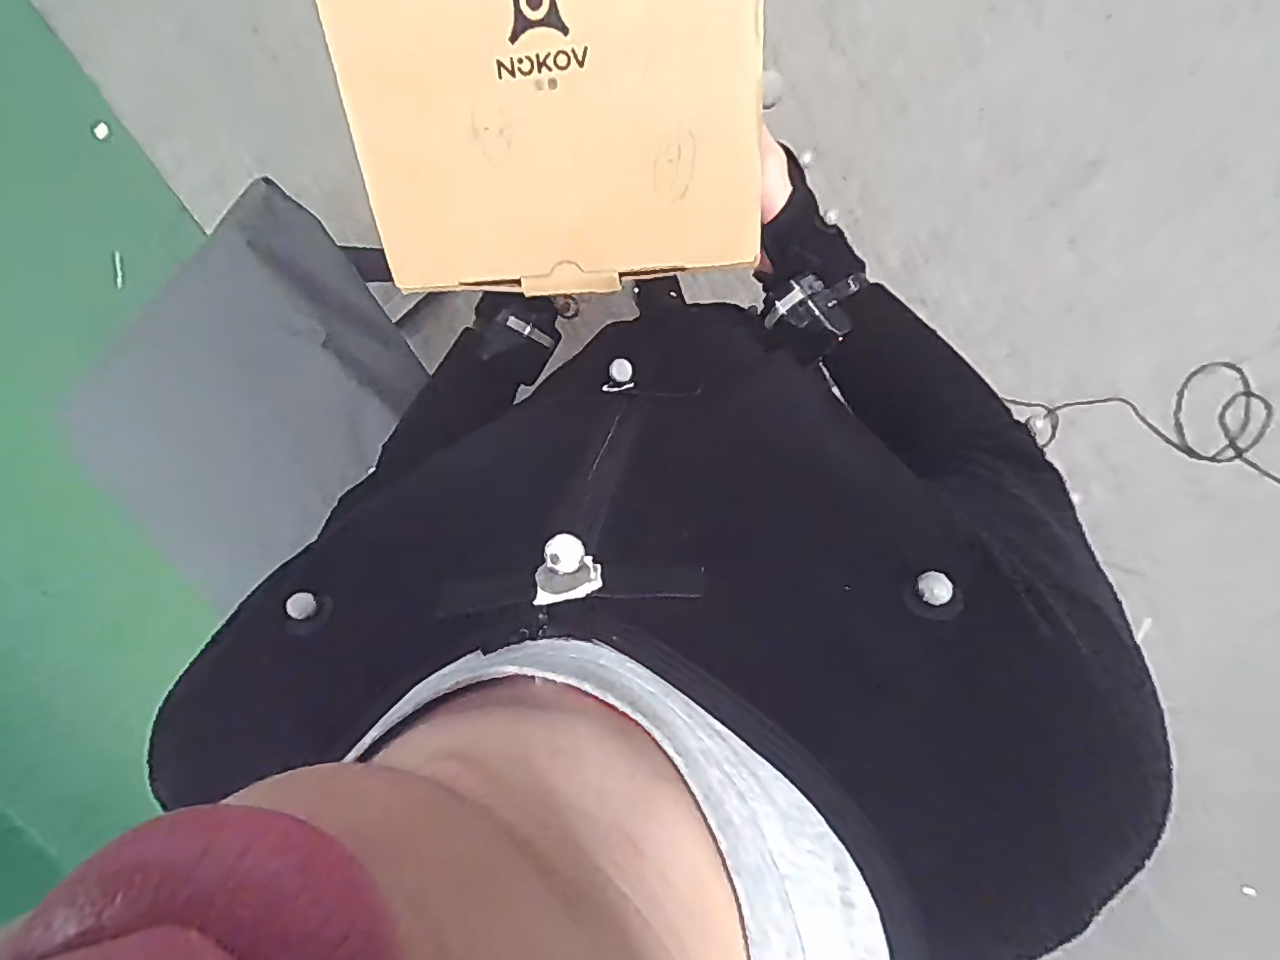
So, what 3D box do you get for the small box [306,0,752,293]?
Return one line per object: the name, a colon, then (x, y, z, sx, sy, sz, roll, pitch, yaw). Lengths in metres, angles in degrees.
small box: (-0.030, -0.201, 0.266, 0.168, 0.176, 0.179, -1, 118, 9)
